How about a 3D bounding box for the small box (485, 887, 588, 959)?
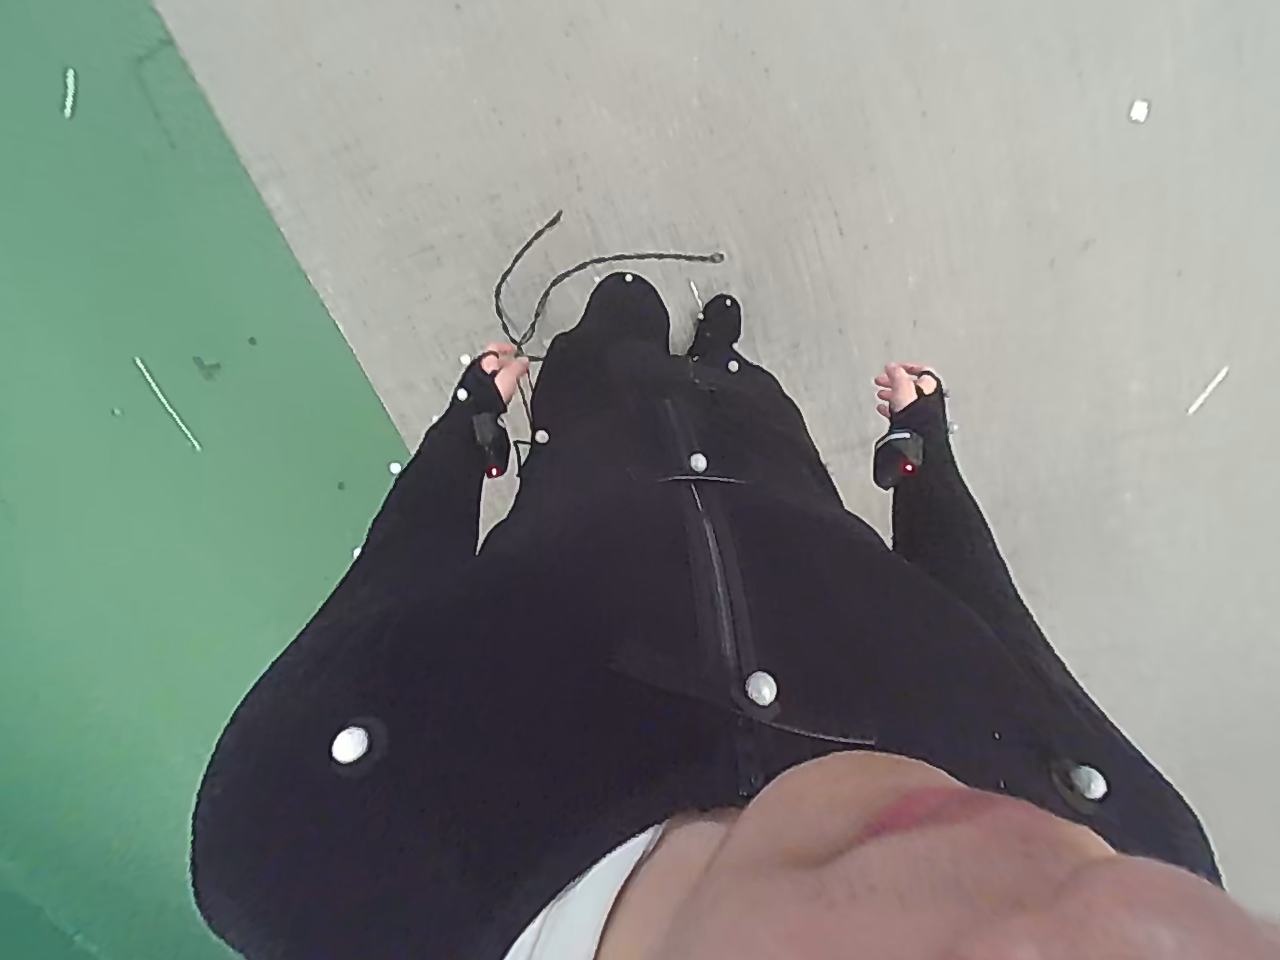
[{"bbox_3d":[-0.235,1.099,1.264,0.168,0.176,0.179,-18,109,11],"label":"small box"}]
